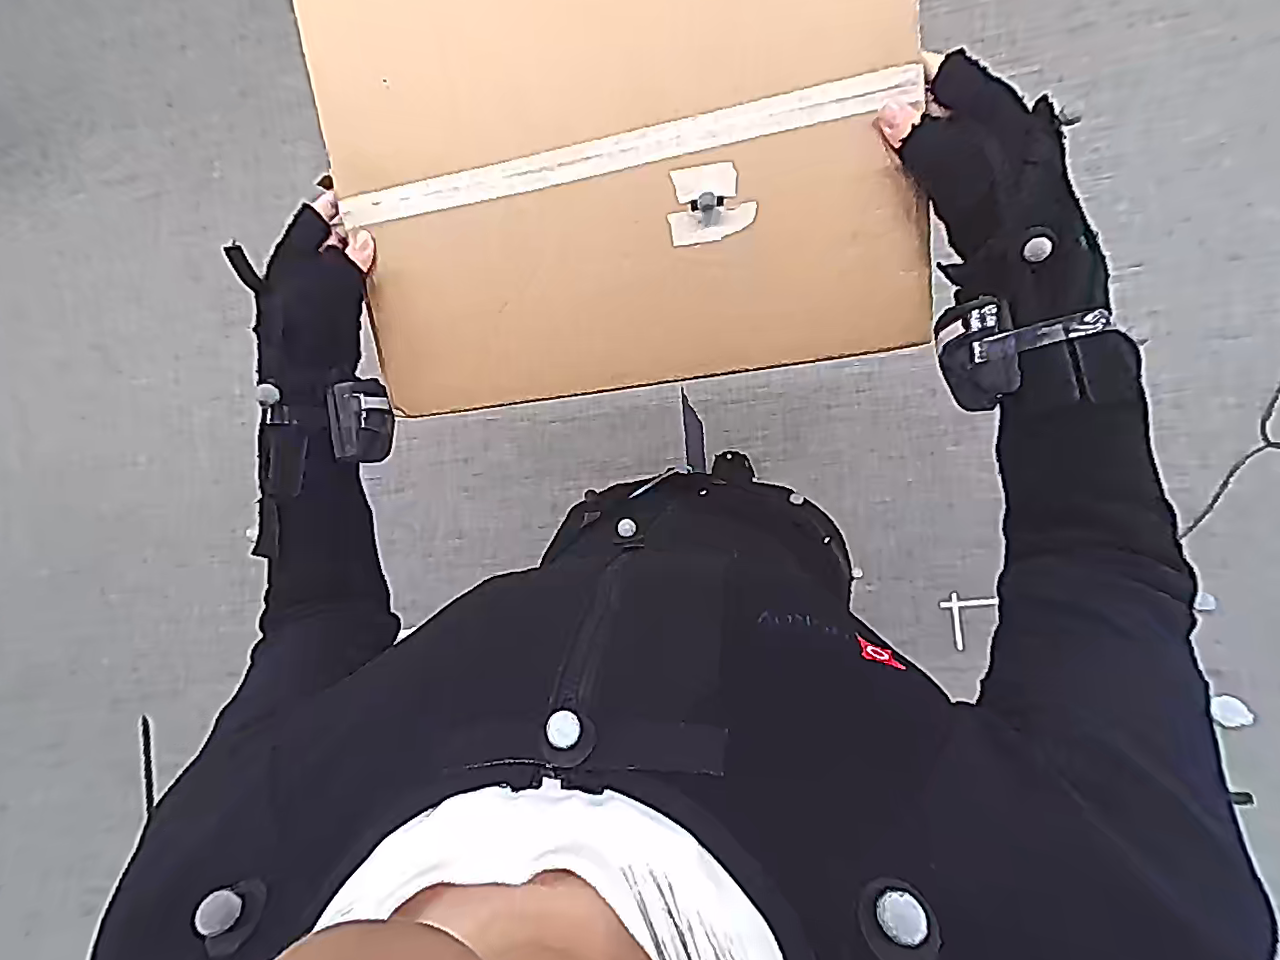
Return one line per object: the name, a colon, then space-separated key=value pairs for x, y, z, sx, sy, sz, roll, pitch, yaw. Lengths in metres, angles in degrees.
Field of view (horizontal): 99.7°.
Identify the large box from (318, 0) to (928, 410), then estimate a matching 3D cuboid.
large box: x=0.004 y=-0.263 z=0.524 sx=0.408 sy=0.320 sz=0.320 roll=-7 pitch=103 yaw=10
